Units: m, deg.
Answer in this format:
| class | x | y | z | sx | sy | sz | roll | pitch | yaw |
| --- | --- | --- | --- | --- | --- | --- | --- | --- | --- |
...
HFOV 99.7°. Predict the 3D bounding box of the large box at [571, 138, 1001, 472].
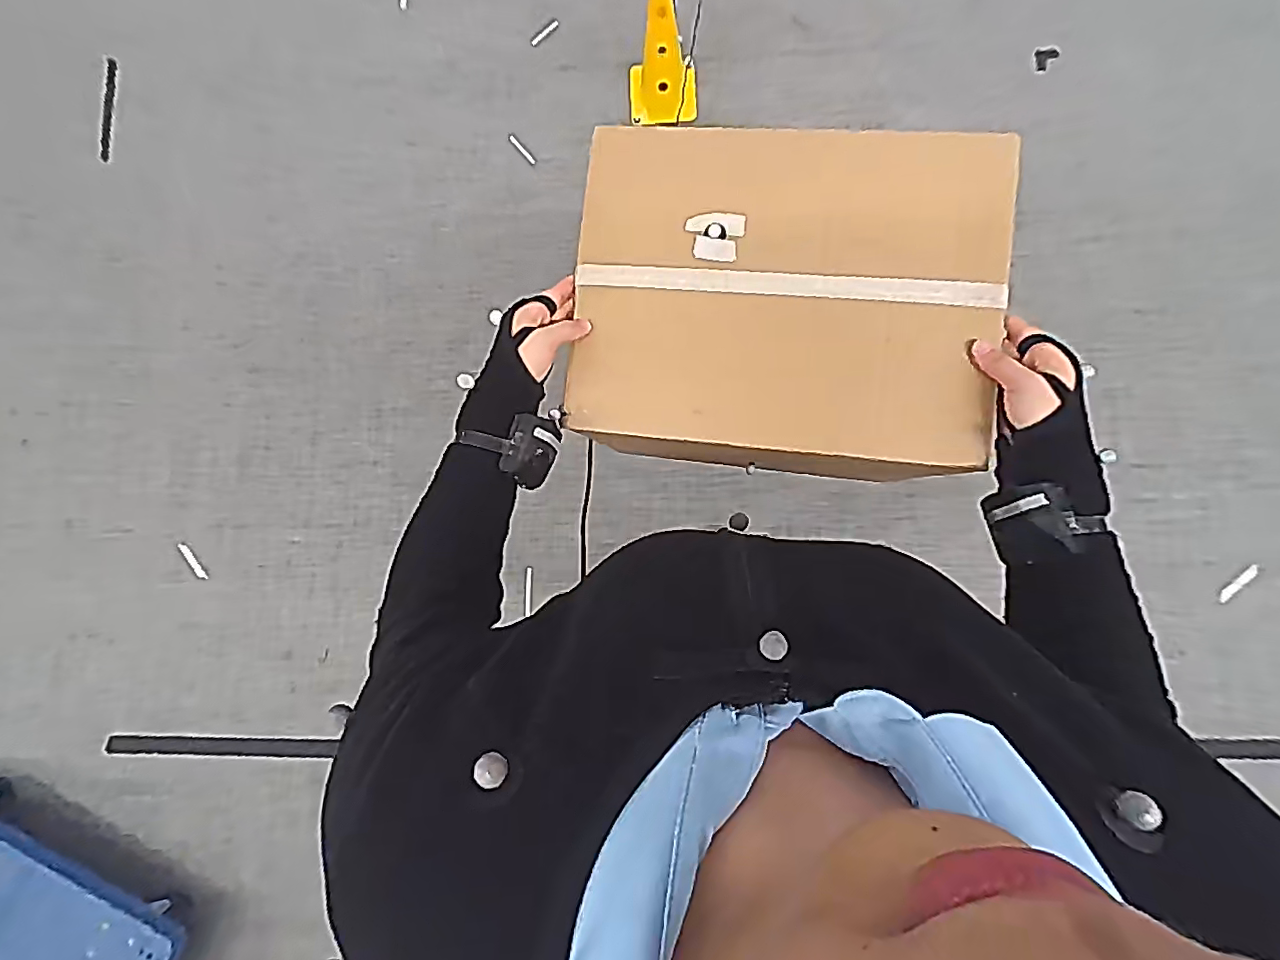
| class | x | y | z | sx | sy | sz | roll | pitch | yaw |
| --- | --- | --- | --- | --- | --- | --- | --- | --- | --- |
| large box | 0.160 | -0.181 | 0.683 | 0.408 | 0.320 | 0.320 | 6 | 87 | 9 |
